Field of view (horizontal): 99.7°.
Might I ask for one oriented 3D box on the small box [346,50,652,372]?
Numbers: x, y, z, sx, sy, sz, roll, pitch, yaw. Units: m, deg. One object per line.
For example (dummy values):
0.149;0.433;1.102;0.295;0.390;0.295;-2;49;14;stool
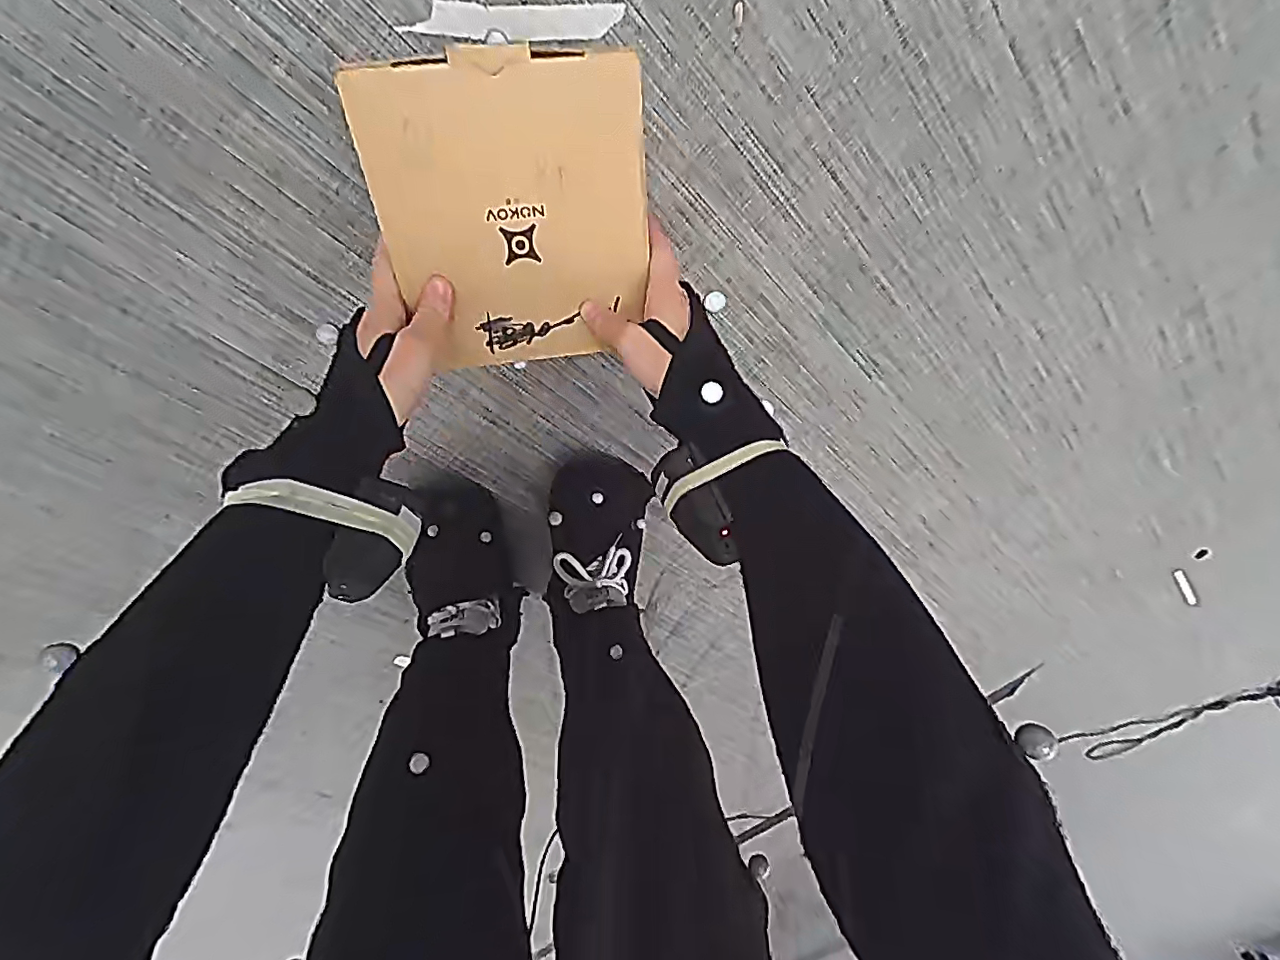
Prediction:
-0.088;-0.202;0.407;0.168;0.176;0.179;-8;125;-6;small box
